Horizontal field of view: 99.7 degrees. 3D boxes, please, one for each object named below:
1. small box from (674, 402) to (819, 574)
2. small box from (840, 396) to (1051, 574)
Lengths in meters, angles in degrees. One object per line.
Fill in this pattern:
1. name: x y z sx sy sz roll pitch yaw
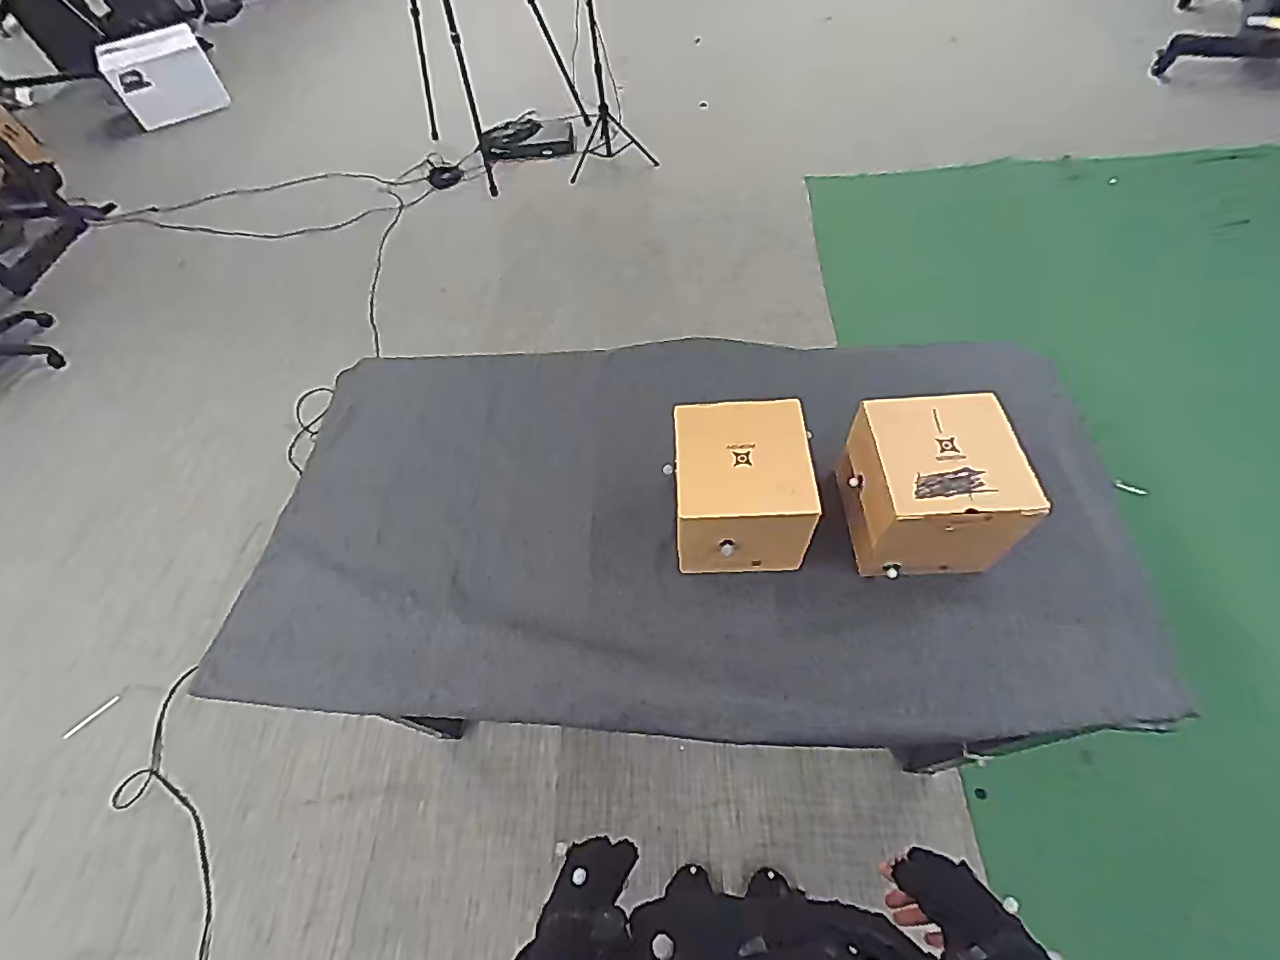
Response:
1. small box: 0.133 0.019 0.728 0.168 0.176 0.179 -3 56 5
2. small box: 0.373 0.015 0.701 0.168 0.176 0.179 -3 55 4
